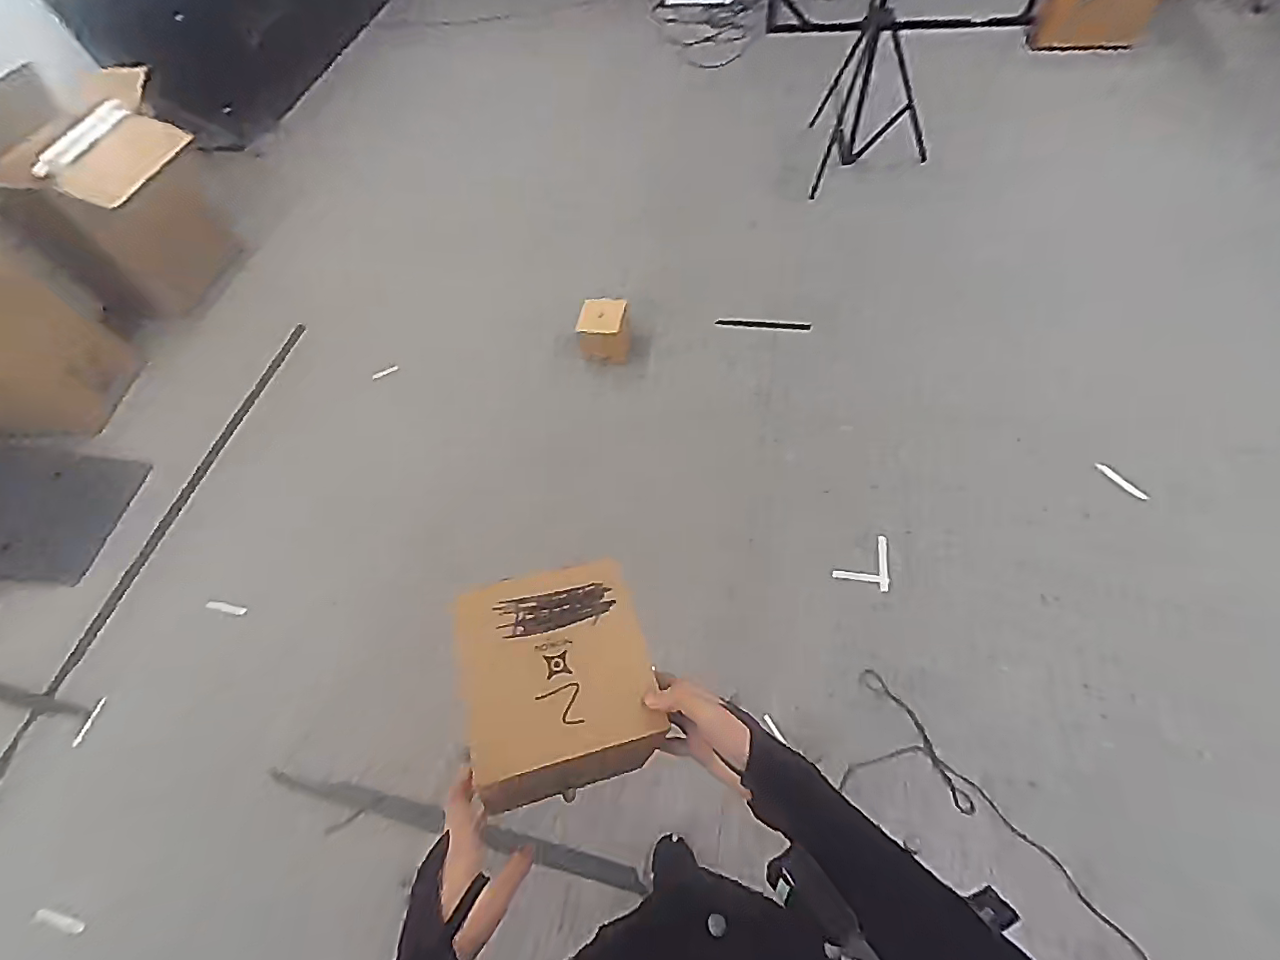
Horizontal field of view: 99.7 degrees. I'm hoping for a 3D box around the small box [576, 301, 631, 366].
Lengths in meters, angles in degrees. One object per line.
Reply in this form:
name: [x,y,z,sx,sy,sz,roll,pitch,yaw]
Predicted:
small box: [-0.134,-0.566,2.089,0.168,0.176,0.179,6,60,12]
